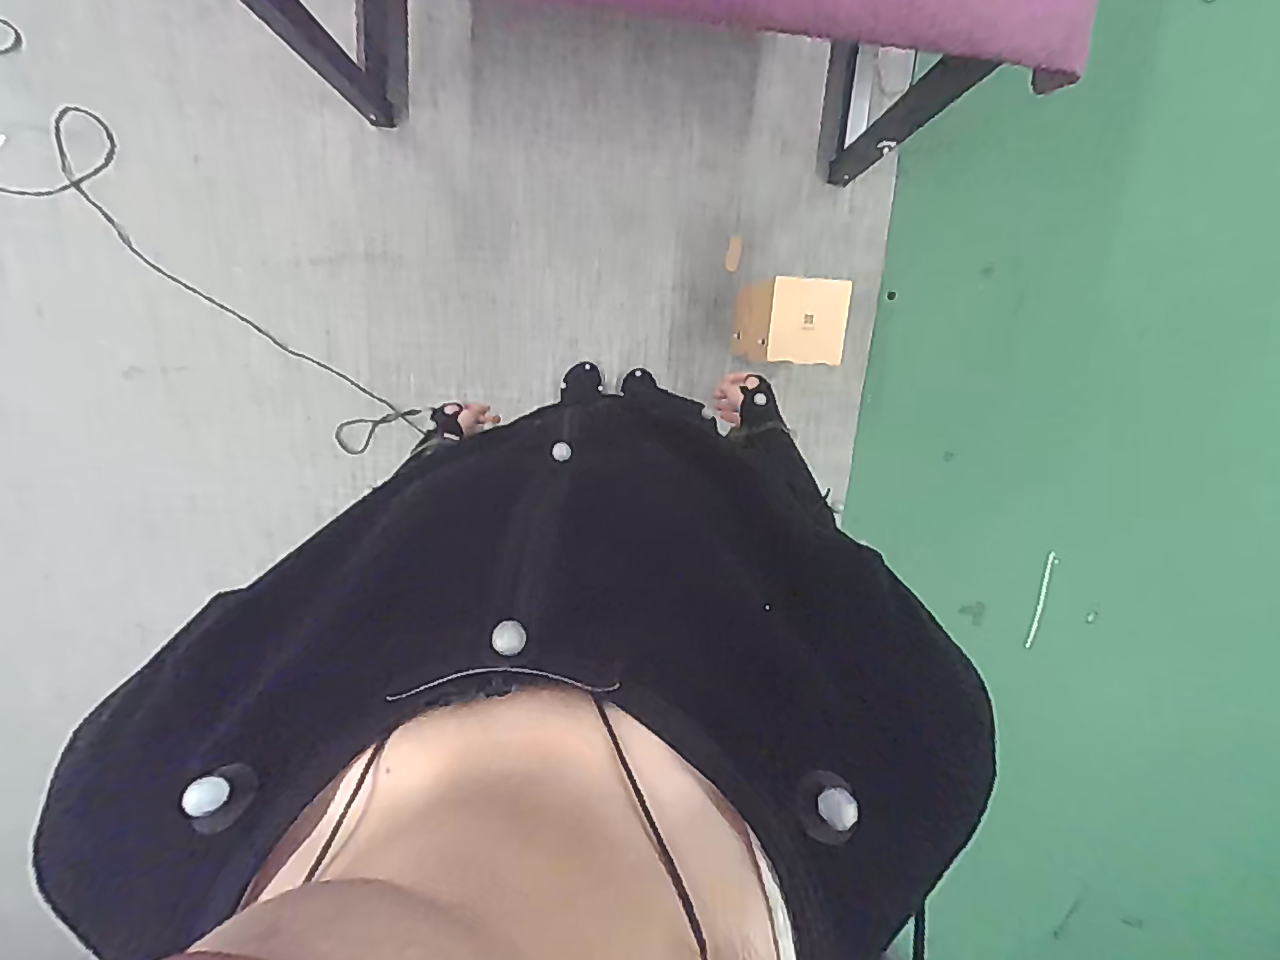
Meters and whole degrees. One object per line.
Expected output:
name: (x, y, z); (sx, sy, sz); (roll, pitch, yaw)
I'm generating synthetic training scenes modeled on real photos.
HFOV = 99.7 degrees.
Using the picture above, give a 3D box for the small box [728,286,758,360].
small box: (0.331, -0.387, 1.374); (0.179, 0.176, 0.168); (5, 102, -4)

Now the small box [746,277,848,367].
small box: (0.344, -0.349, 1.218); (0.168, 0.176, 0.179); (3, 104, -3)
